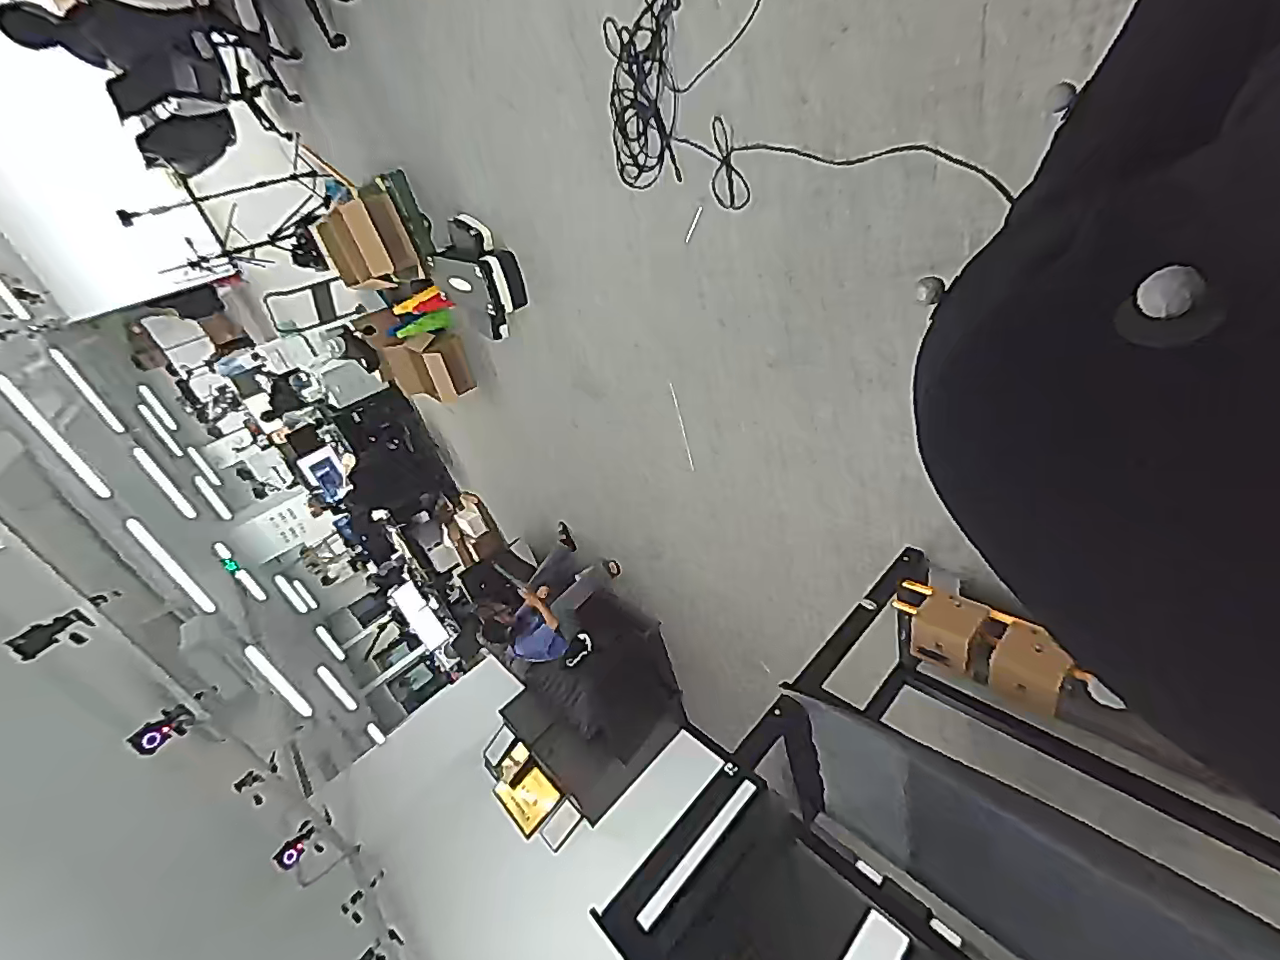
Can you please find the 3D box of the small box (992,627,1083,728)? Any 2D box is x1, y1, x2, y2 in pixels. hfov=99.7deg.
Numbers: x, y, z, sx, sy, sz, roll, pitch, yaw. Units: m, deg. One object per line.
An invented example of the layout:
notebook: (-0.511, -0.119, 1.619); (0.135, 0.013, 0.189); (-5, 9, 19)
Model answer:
small box: (1.139, 0.557, 1.550); (0.168, 0.176, 0.179); (20, 135, 47)
